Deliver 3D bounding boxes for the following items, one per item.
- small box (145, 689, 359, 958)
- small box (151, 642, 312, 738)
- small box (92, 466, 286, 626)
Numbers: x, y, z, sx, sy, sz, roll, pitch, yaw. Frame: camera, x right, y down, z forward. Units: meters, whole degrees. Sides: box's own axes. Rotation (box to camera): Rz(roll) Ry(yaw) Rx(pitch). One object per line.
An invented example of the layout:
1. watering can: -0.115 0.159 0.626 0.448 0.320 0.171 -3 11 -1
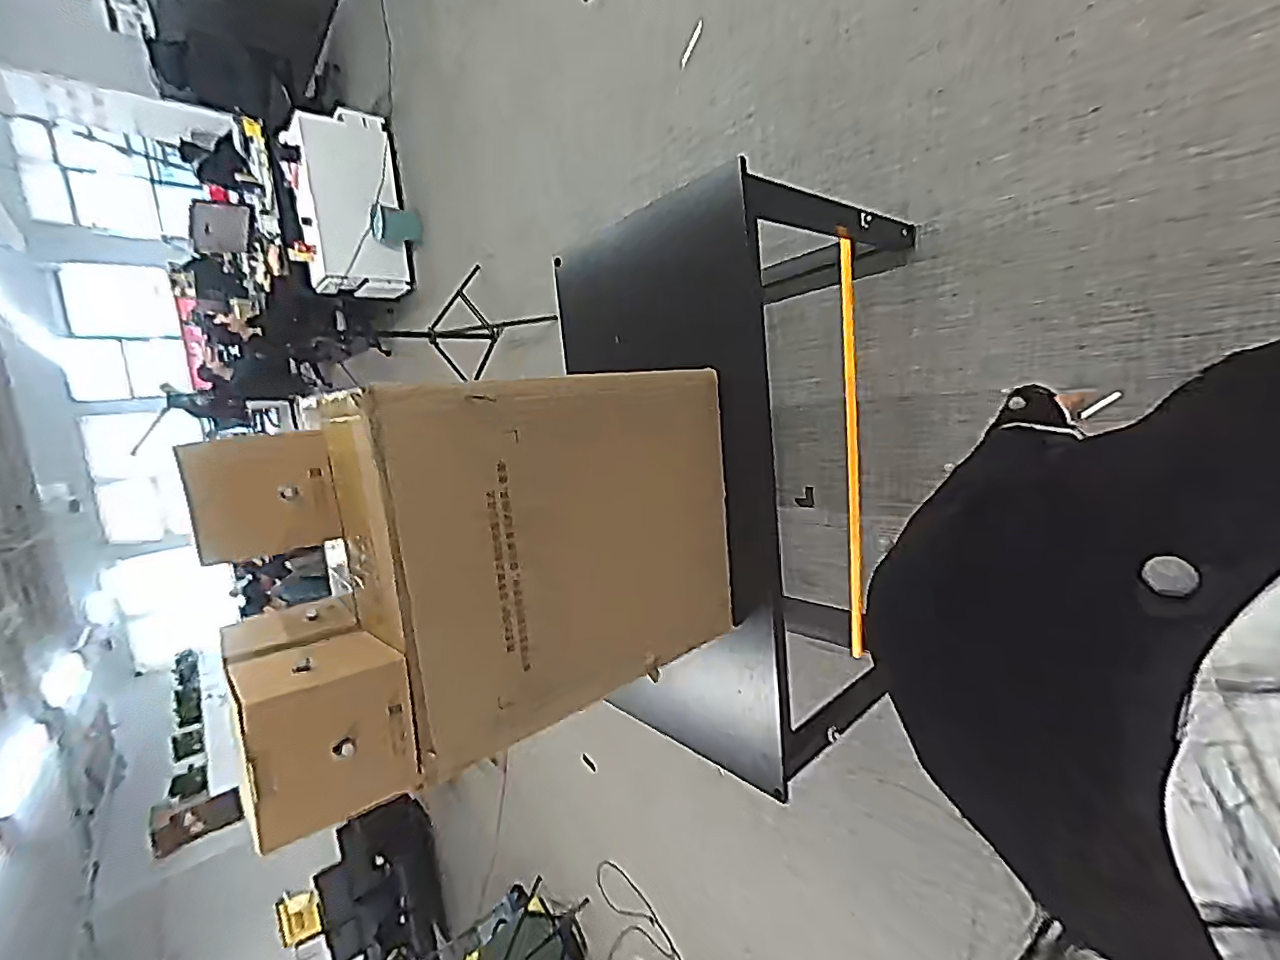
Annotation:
1. small box: -0.434 0.361 0.614 0.179 0.176 0.168 -3 94 47
2. small box: -0.565 0.359 0.772 0.168 0.176 0.179 6 102 50
3. small box: -0.600 0.076 0.739 0.179 0.176 0.168 3 103 52
